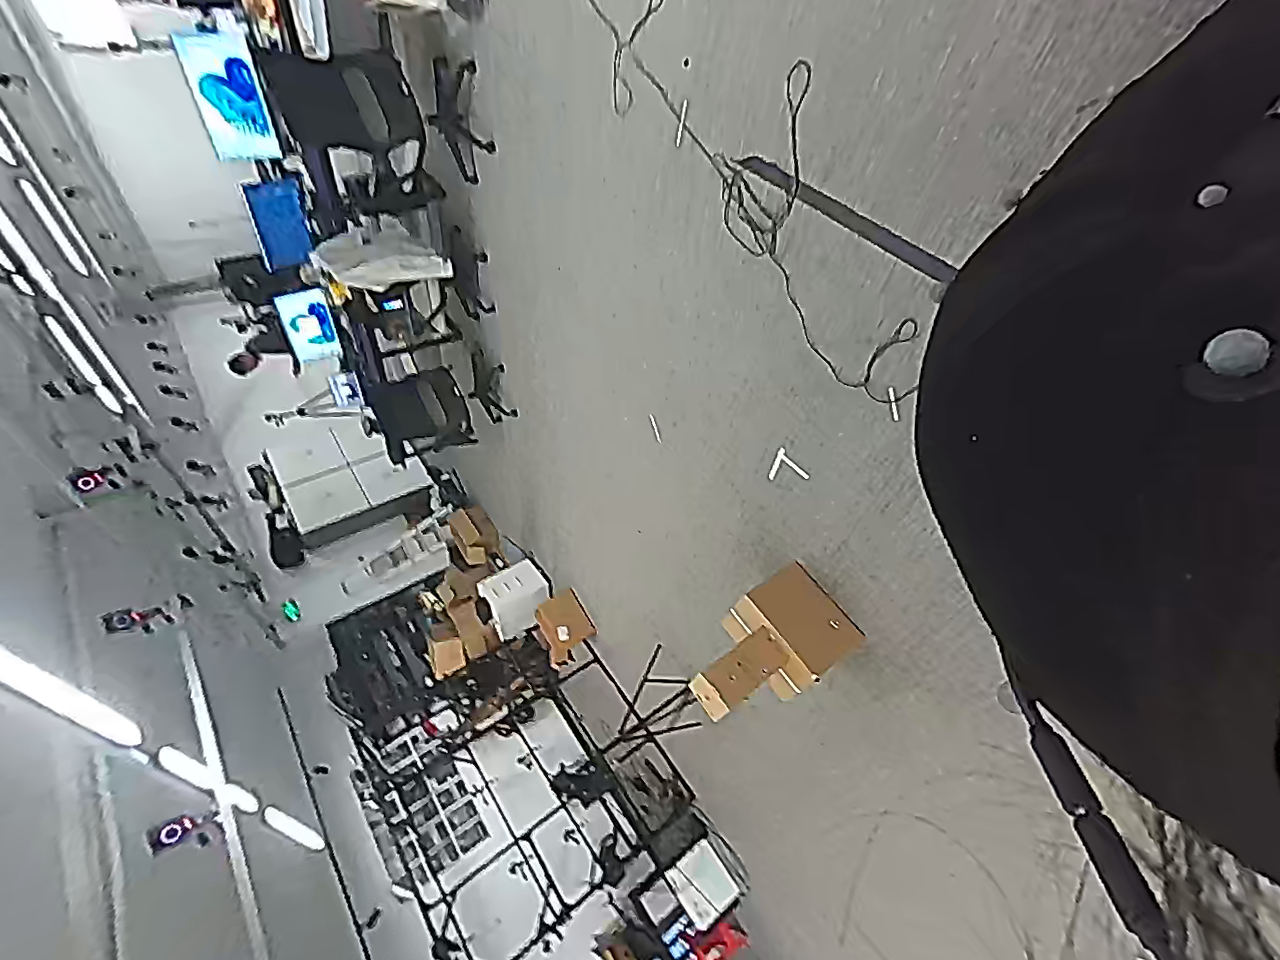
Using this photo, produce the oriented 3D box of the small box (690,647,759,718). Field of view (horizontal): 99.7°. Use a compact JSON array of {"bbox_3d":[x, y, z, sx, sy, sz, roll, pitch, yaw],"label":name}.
[{"bbox_3d":[0.322,0.761,2.041,0.168,0.176,0.179,51,148,23],"label":"small box"}]
